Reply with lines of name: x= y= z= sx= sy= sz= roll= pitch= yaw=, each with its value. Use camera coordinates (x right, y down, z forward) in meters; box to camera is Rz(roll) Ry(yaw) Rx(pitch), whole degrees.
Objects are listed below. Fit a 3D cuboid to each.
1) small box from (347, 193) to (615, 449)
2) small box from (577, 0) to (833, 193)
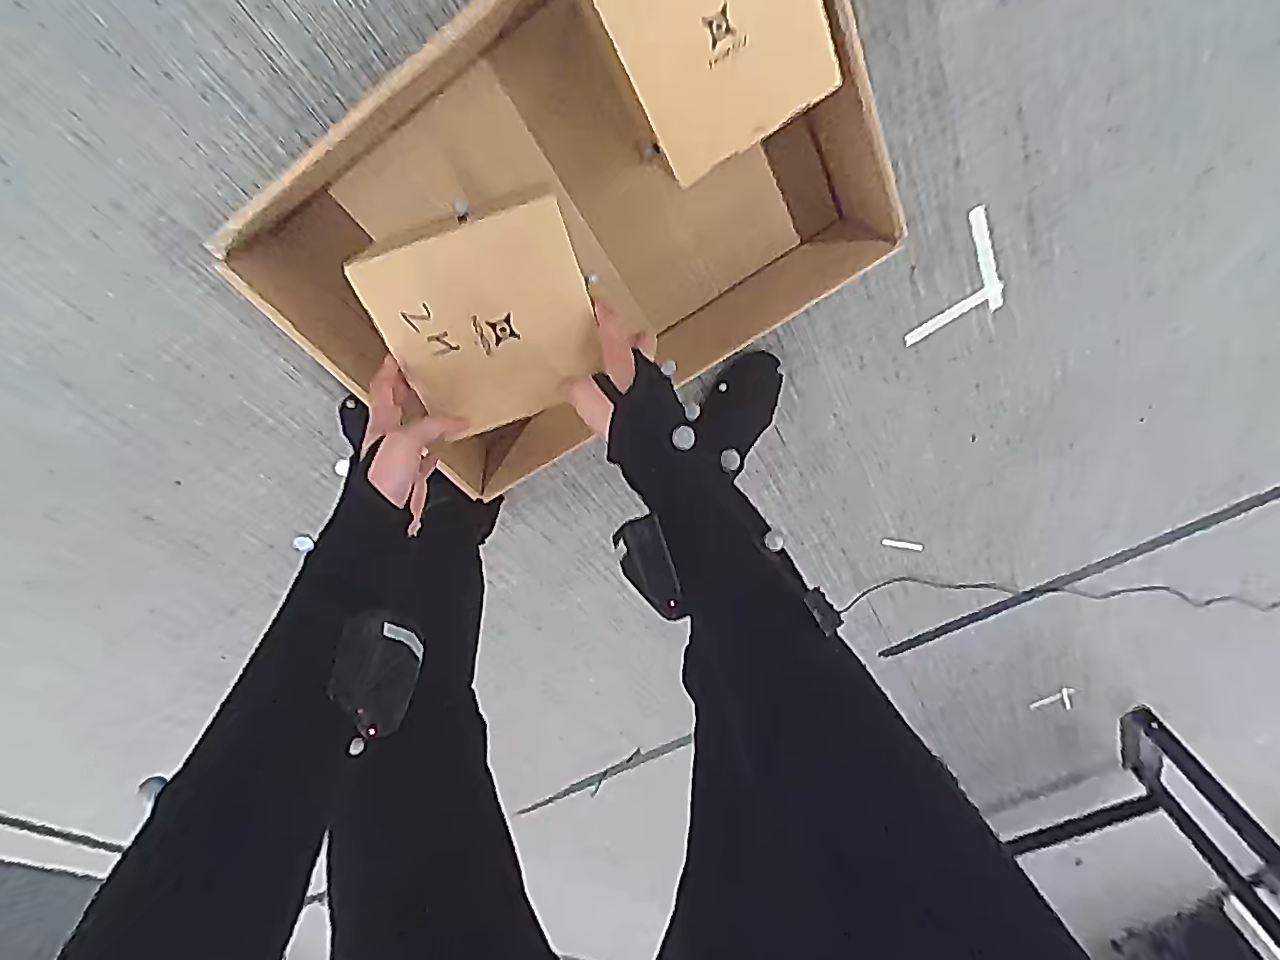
small box: x=-0.139 y=-0.162 z=0.524 sx=0.179 sy=0.176 sz=0.168 roll=-19 pitch=124 yaw=1
small box: x=0.052 y=-0.414 z=0.515 sx=0.168 sy=0.176 sz=0.179 roll=-29 pitch=128 yaw=13
